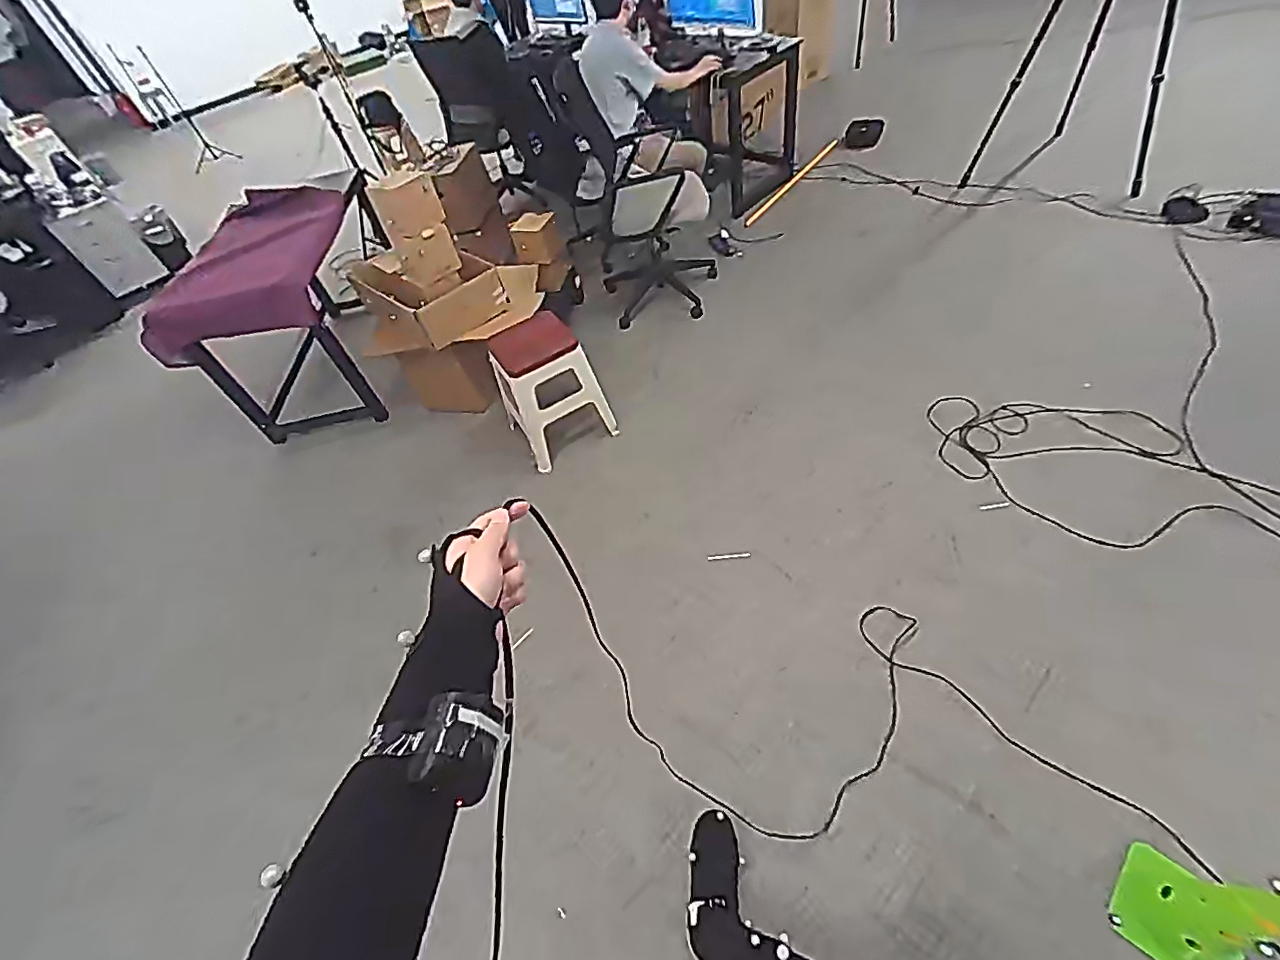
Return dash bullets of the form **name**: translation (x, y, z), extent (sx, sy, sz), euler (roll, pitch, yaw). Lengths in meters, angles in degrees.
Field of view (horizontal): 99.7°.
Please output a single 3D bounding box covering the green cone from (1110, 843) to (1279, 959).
- **green cone**: translation (1.069, 0.781, 0.968), extent (0.200, 0.368, 0.202), euler (31, 62, 31)
